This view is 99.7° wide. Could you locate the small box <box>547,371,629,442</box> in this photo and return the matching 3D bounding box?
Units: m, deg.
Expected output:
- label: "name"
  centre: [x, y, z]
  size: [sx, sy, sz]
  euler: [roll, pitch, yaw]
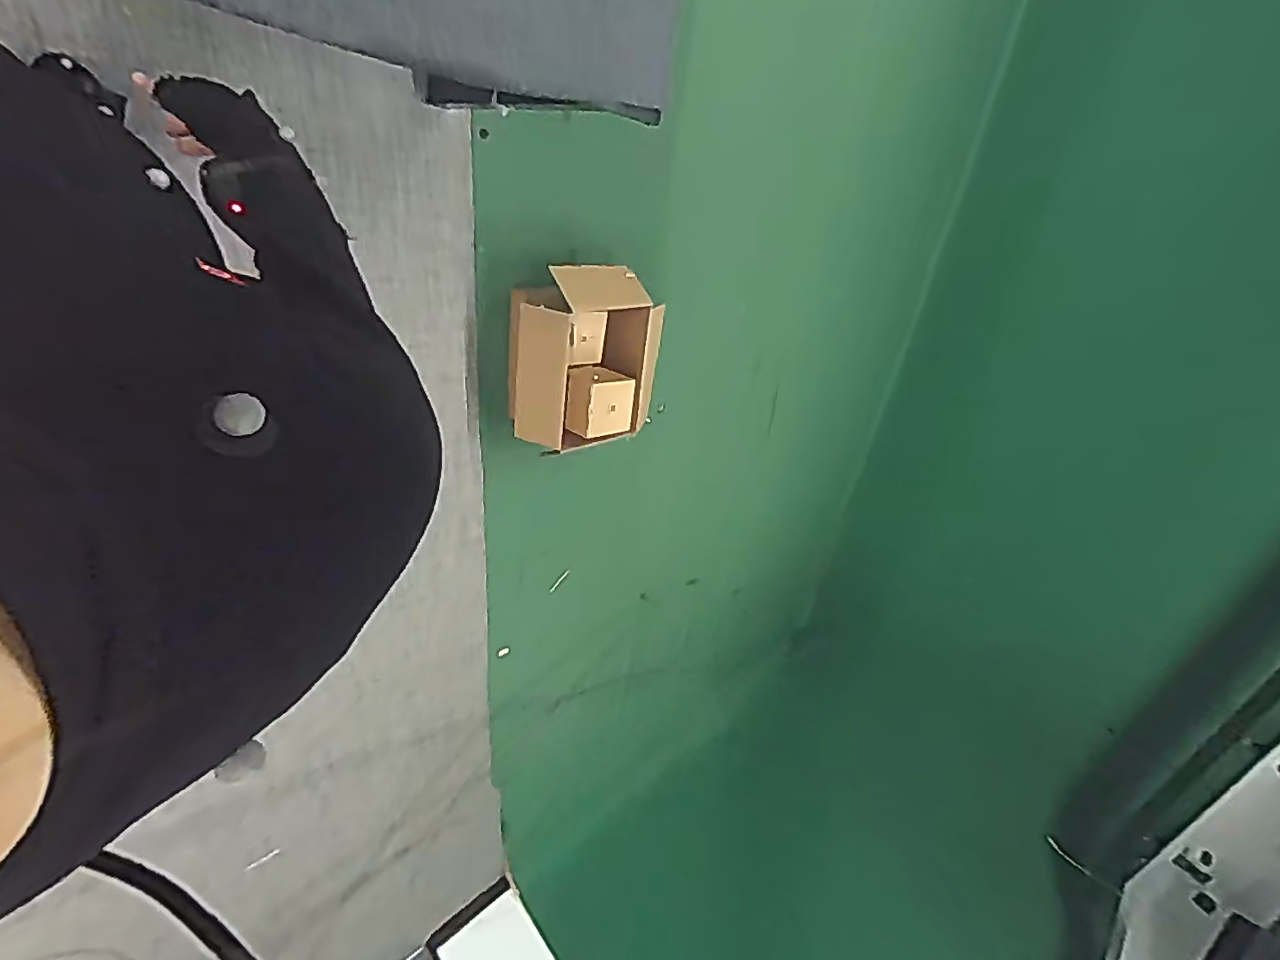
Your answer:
- label: "small box"
  centre: [-0.159, -0.232, 1.655]
  size: [0.179, 0.176, 0.168]
  euler: [-16, 123, -43]
